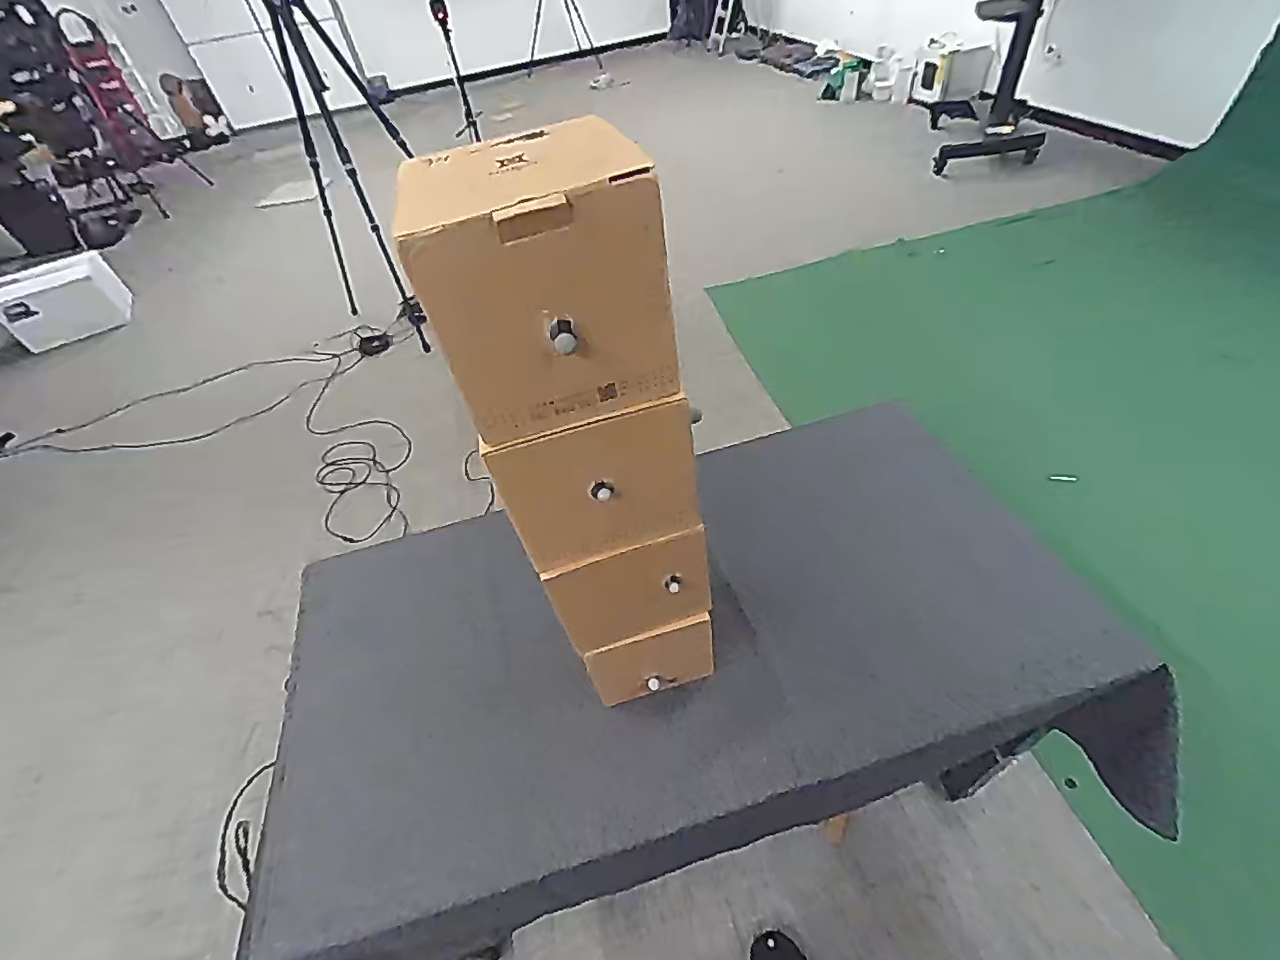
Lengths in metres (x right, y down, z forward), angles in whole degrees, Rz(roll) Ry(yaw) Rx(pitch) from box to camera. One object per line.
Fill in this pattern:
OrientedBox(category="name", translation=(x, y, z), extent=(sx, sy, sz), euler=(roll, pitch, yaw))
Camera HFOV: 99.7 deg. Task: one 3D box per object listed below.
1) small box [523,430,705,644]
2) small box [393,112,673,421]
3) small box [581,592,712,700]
OrientedBox(category="small box", translation=(-0.028, 0.071, 0.660), extent=(0.179, 0.176, 0.168), euler=(-17, 45, -6))
OrientedBox(category="small box", translation=(-0.078, -0.167, 0.440), extent=(0.168, 0.176, 0.179), euler=(-17, 46, -5))
OrientedBox(category="small box", translation=(-0.002, 0.183, 0.775), extent=(0.168, 0.176, 0.179), euler=(-15, 47, -4))
